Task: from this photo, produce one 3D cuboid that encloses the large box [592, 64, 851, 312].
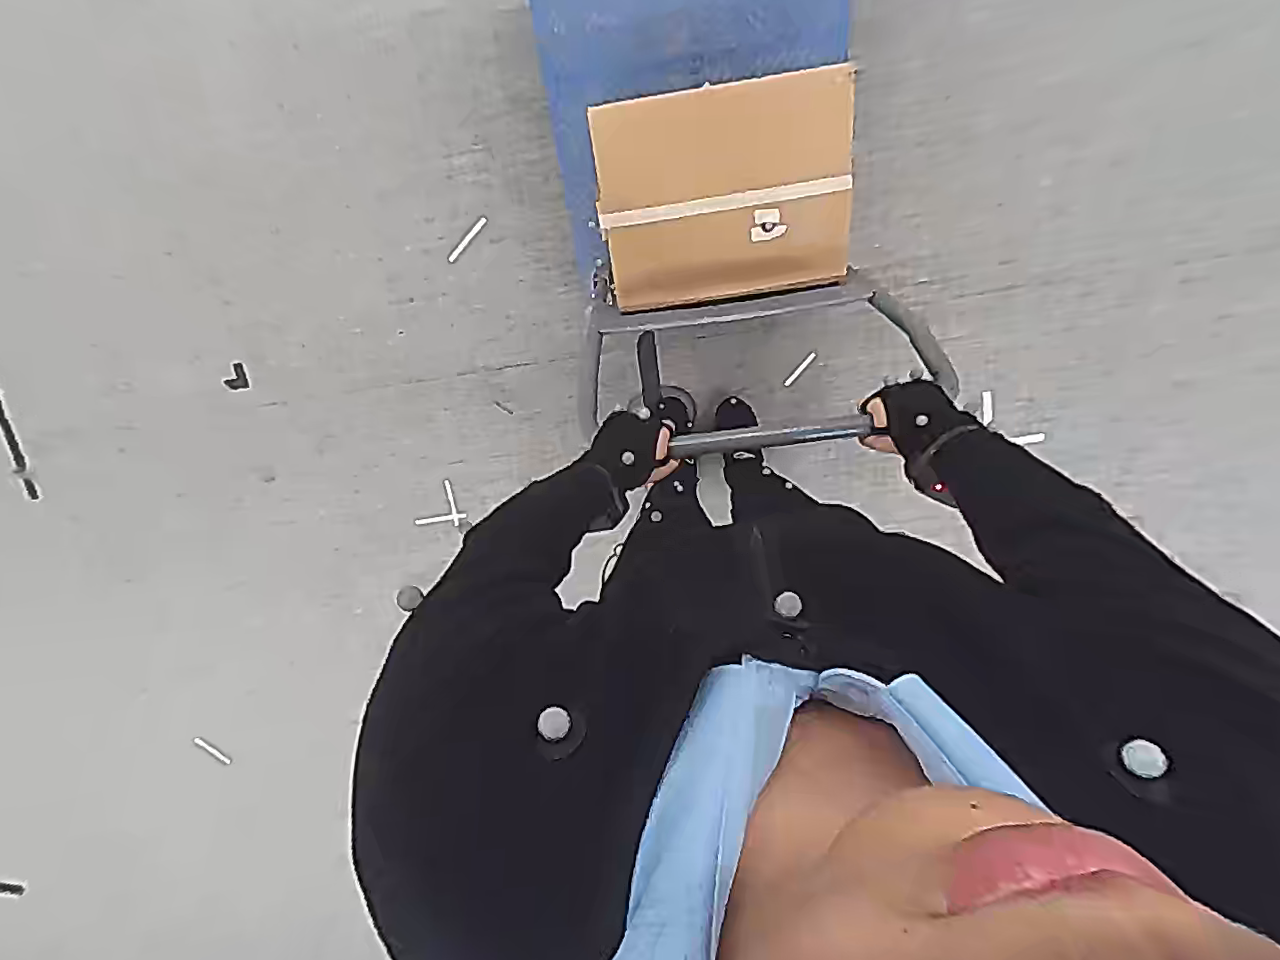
[{"bbox_3d":[0.141,-0.541,1.026,0.408,0.320,0.320,-8,122,4],"label":"large box"}]
